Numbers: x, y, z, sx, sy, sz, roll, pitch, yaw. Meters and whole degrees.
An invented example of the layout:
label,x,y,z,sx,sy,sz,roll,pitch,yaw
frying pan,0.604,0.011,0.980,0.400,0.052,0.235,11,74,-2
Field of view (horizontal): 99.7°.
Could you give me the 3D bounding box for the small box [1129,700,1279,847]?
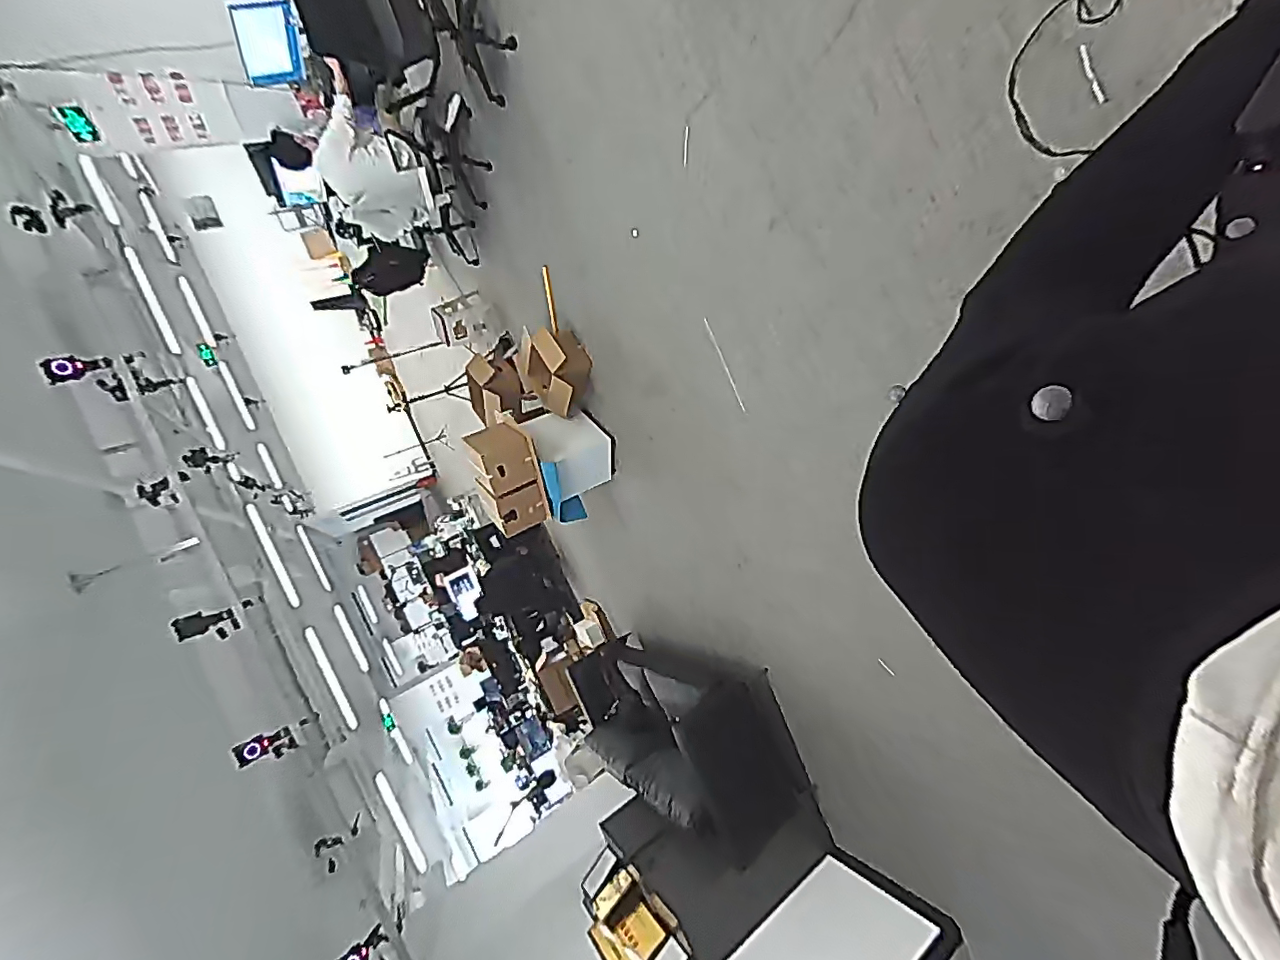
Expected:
label,x,y,z,sx,sy,sz,roll,pitch,yaw
small box,1.143,0.572,1.085,0.179,0.176,0.168,-10,103,64
